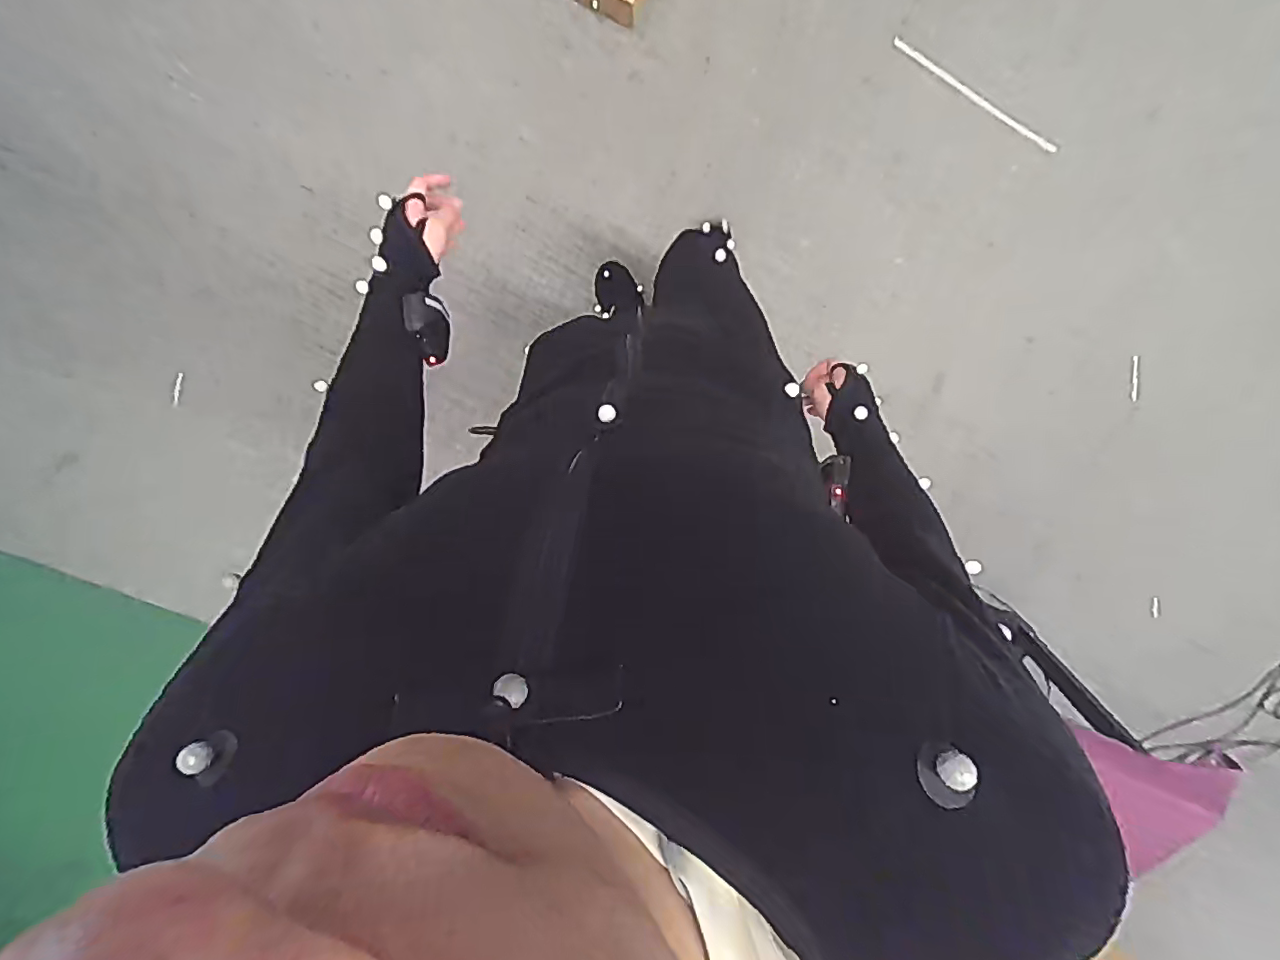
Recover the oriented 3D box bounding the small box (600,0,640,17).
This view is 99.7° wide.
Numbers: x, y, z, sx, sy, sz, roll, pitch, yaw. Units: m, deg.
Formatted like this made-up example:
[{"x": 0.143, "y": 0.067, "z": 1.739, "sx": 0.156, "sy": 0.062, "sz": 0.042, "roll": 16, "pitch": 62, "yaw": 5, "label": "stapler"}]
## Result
[{"x": -0.056, "y": -1.104, "z": 1.105, "sx": 0.168, "sy": 0.176, "sz": 0.179, "roll": 22, "pitch": 113, "yaw": -10, "label": "small box"}]
